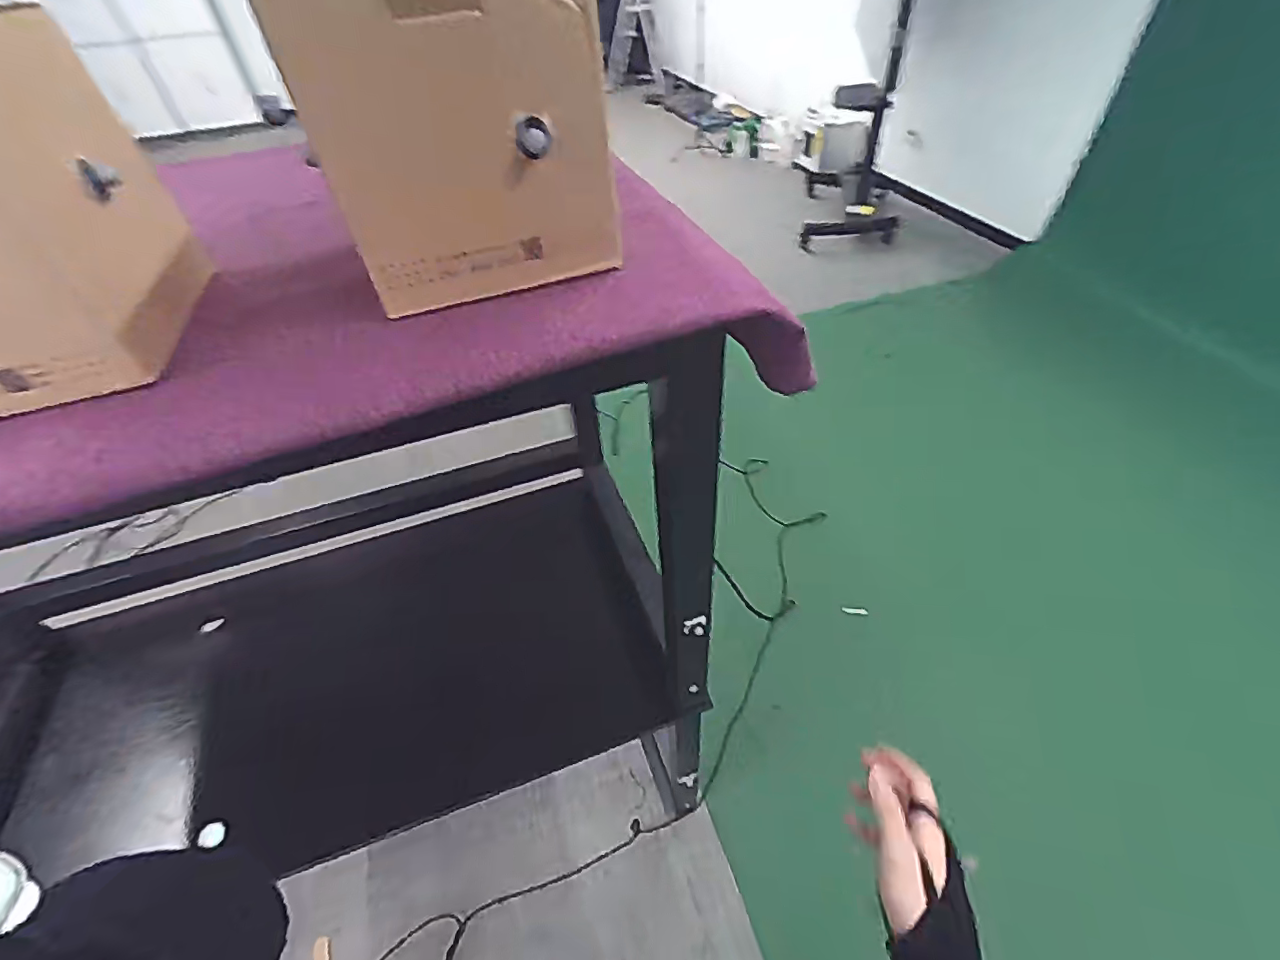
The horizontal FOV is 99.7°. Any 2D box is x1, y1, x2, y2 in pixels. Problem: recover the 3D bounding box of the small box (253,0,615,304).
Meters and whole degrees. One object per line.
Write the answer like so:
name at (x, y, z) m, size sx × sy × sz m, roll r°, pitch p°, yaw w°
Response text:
small box at (-0.122, -0.238, 0.376) m, size 0.168 × 0.176 × 0.179 m, roll -16°, pitch 45°, yaw -10°
